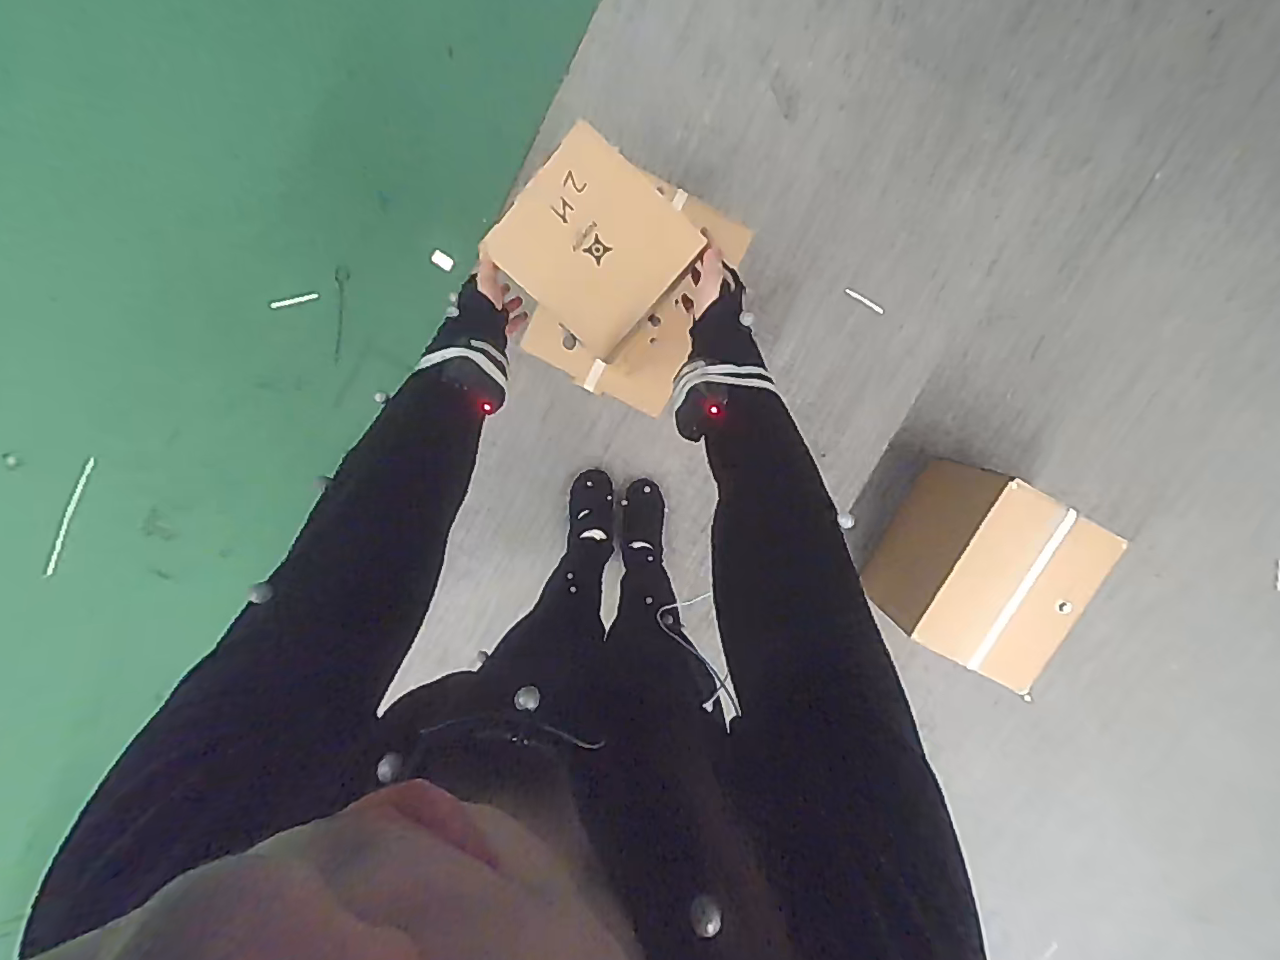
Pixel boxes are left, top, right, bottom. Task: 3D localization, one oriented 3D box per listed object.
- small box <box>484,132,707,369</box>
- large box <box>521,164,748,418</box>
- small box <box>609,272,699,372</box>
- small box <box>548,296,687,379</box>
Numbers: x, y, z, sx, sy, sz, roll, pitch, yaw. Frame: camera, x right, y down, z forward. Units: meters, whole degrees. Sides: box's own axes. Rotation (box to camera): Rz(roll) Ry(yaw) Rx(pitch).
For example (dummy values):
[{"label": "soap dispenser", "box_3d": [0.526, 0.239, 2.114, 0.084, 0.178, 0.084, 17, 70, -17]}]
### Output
[{"label": "small box", "box_3d": [-0.045, -0.250, 0.637, 0.179, 0.176, 0.168, 42, 97, -7]}, {"label": "large box", "box_3d": [-0.016, -0.385, 1.192, 0.320, 0.320, 0.408, 27, 98, -6]}, {"label": "small box", "box_3d": [-0.038, -0.279, 0.799, 0.168, 0.176, 0.179, 42, 98, -7]}, {"label": "small box", "box_3d": [-0.041, -0.299, 0.961, 0.168, 0.176, 0.179, 38, 98, -7]}]
